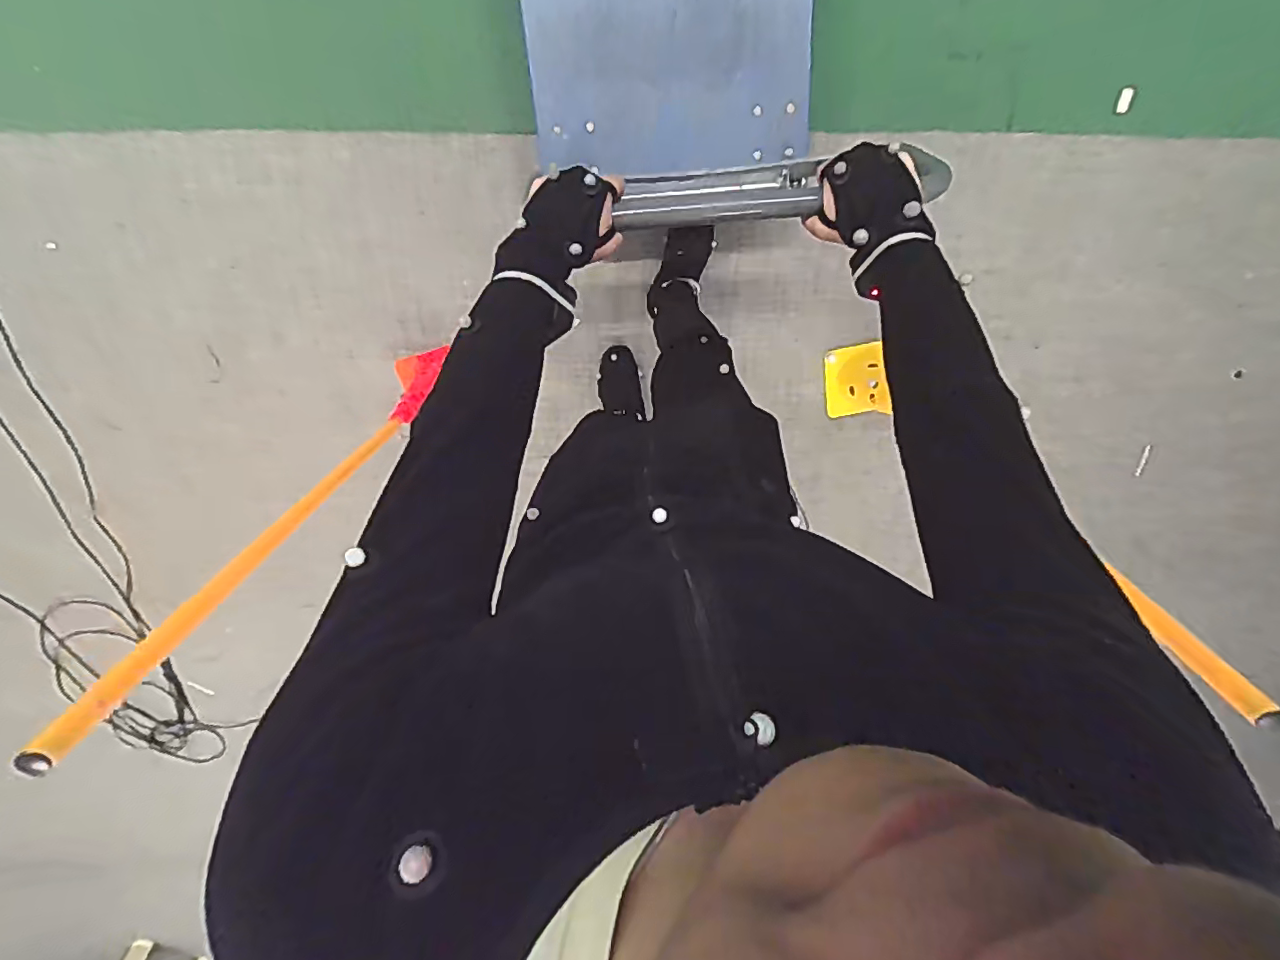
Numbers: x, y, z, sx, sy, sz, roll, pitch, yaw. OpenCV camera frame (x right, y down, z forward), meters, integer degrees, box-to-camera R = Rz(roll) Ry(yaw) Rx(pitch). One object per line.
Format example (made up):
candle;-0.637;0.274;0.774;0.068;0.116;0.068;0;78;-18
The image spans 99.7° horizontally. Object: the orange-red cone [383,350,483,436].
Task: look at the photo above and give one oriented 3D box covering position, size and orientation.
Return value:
orange-red cone;-0.549;-0.180;1.339;0.199;0.360;0.198;-14;113;5
